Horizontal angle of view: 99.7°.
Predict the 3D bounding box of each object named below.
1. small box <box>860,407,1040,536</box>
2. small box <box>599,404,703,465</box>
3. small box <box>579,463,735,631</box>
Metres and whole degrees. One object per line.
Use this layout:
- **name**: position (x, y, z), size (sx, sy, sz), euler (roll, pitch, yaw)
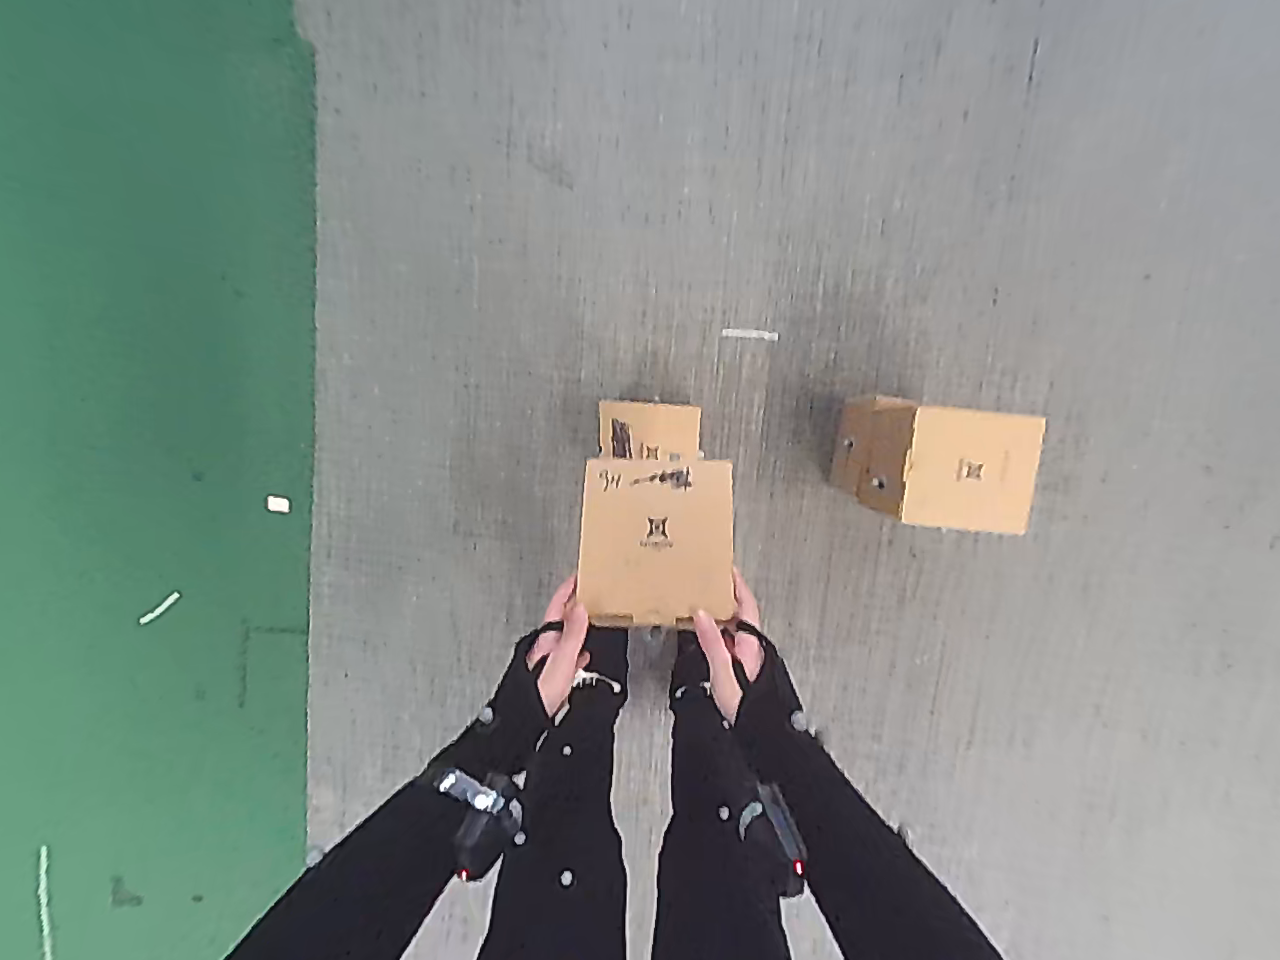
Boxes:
- **small box**: position (0.458, -0.018, 0.829), size (0.179, 0.176, 0.168), euler (6, 96, 2)
- **small box**: position (0.020, -0.051, 1.015), size (0.179, 0.176, 0.168), euler (4, 96, 2)
- **small box**: position (0.026, 0.089, 0.654), size (0.168, 0.176, 0.179), euler (1, 72, 3)
